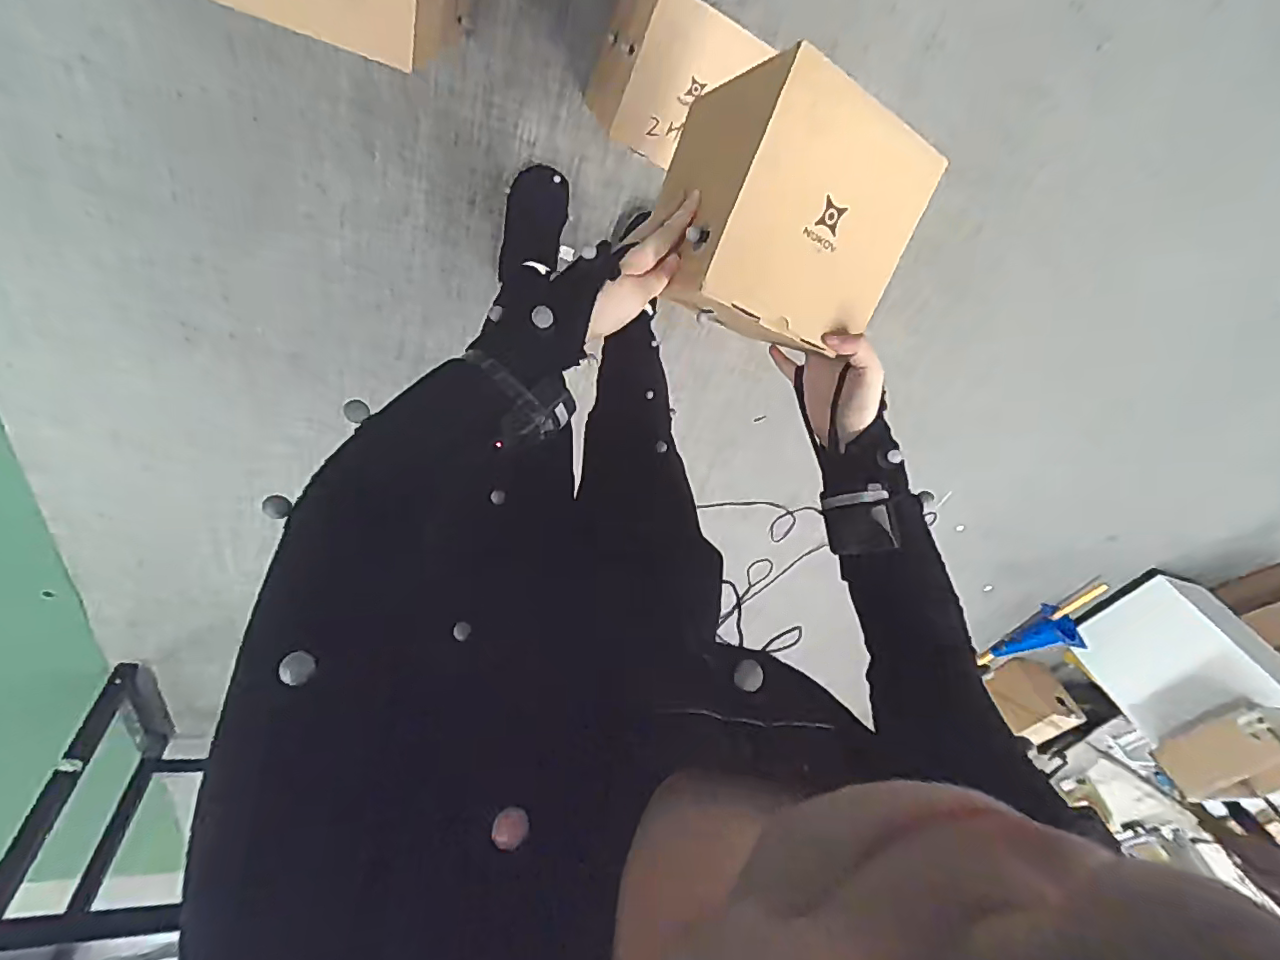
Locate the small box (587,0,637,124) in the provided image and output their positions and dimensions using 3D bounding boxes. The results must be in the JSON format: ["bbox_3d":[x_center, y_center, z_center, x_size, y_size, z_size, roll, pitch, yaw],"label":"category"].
[{"bbox_3d":[0.023,-0.649,0.871,0.168,0.176,0.179,15,128,-25],"label":"small box"}]

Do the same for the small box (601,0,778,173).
[{"bbox_3d":[0.054,-0.542,0.750,0.168,0.176,0.179,14,127,-23],"label":"small box"}]

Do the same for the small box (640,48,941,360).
[{"bbox_3d":[0.119,-0.233,0.495,0.168,0.176,0.179,14,107,-27],"label":"small box"}]
